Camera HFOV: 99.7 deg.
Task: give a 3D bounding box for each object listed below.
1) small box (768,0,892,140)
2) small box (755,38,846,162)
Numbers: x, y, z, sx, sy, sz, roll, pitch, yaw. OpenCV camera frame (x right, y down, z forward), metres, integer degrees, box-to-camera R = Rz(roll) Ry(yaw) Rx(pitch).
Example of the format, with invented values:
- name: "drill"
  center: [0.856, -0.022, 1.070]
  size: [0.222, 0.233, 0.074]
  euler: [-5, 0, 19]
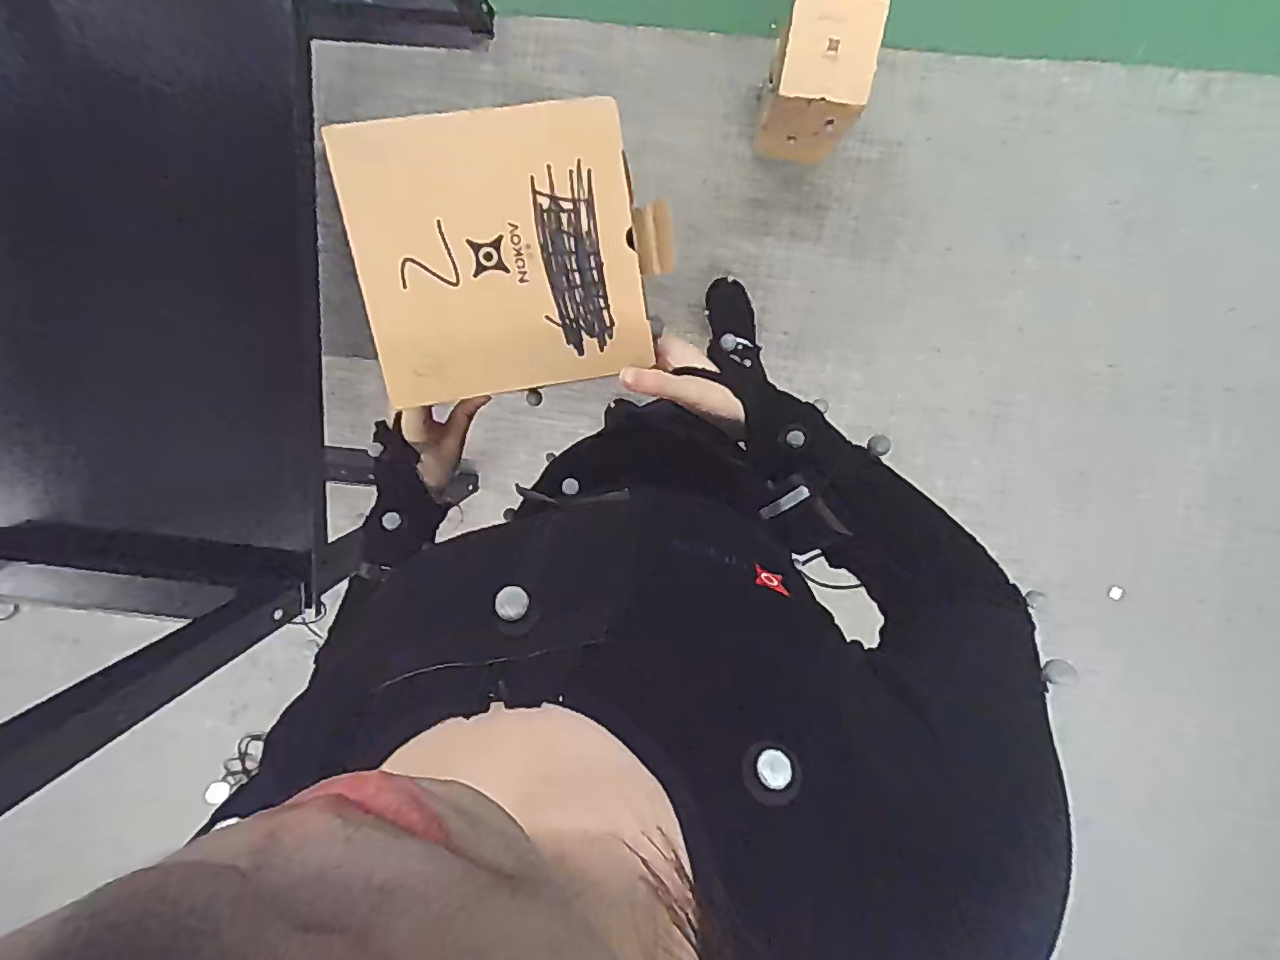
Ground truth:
- name: "small box"
  center: [0.349, -0.781, 1.033]
  size: [0.168, 0.176, 0.179]
  euler: [8, 103, 1]
- name: "small box"
  center: [0.361, -0.824, 1.188]
  size: [0.179, 0.176, 0.168]
  euler: [9, 104, 0]
